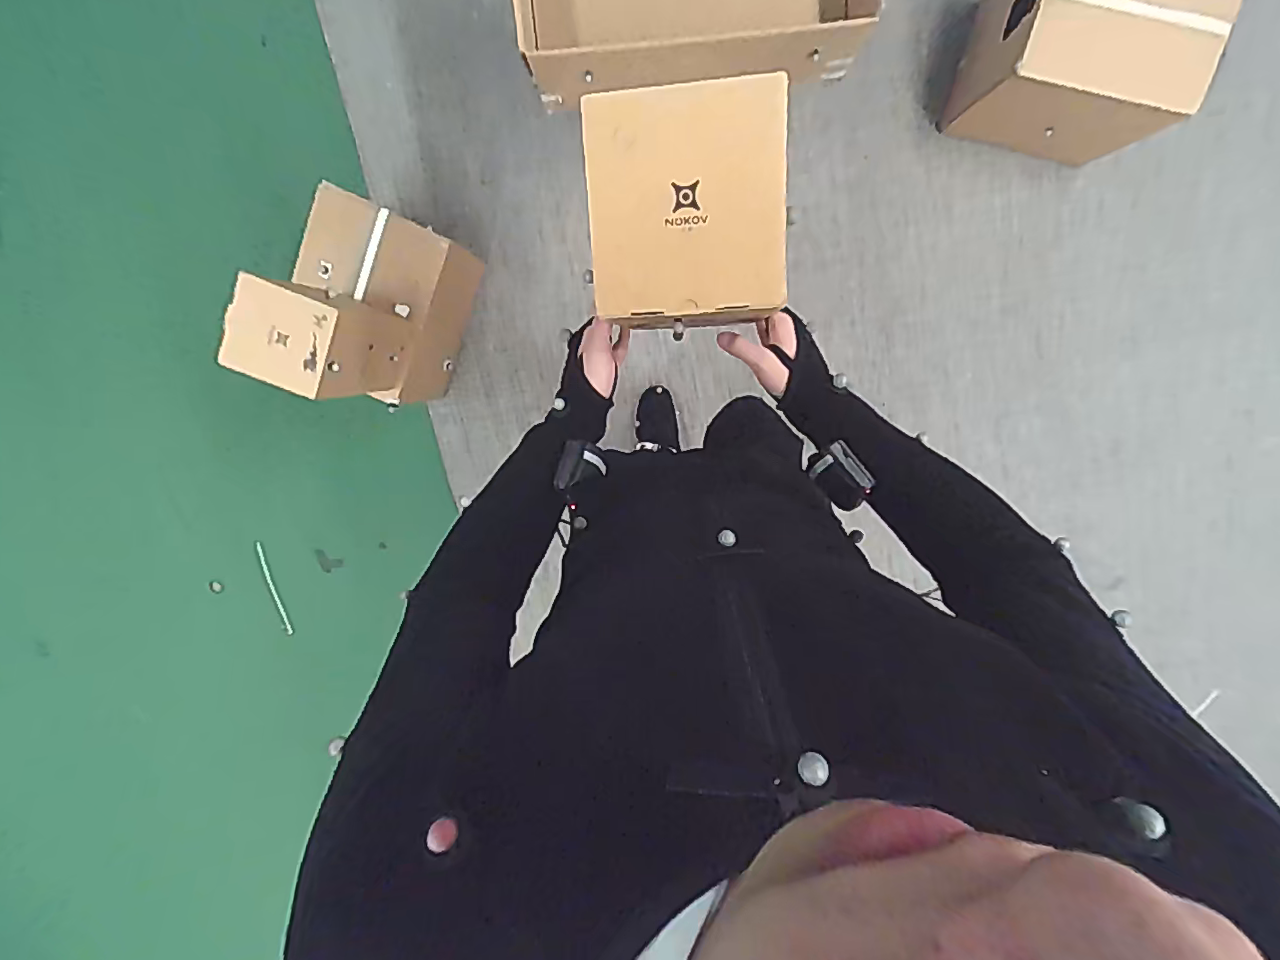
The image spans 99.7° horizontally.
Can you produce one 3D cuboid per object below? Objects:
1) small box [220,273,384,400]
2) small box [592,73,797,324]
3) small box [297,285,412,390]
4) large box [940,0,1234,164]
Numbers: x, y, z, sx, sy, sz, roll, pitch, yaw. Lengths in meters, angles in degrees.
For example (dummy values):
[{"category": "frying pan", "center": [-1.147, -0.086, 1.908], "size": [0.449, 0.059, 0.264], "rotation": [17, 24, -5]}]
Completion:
[{"category": "small box", "center": [-0.616, -0.258, 1.002], "size": [0.179, 0.176, 0.168], "rotation": [22, 101, -4]}, {"category": "small box", "center": [0.051, -0.249, 0.523], "size": [0.168, 0.176, 0.179], "rotation": [-2, 104, 6]}, {"category": "small box", "center": [-0.626, -0.296, 1.162], "size": [0.179, 0.176, 0.168], "rotation": [22, 101, -6]}, {"category": "large box", "center": [1.009, -0.985, 1.258], "size": [0.408, 0.320, 0.320], "rotation": [11, 101, -1]}]
